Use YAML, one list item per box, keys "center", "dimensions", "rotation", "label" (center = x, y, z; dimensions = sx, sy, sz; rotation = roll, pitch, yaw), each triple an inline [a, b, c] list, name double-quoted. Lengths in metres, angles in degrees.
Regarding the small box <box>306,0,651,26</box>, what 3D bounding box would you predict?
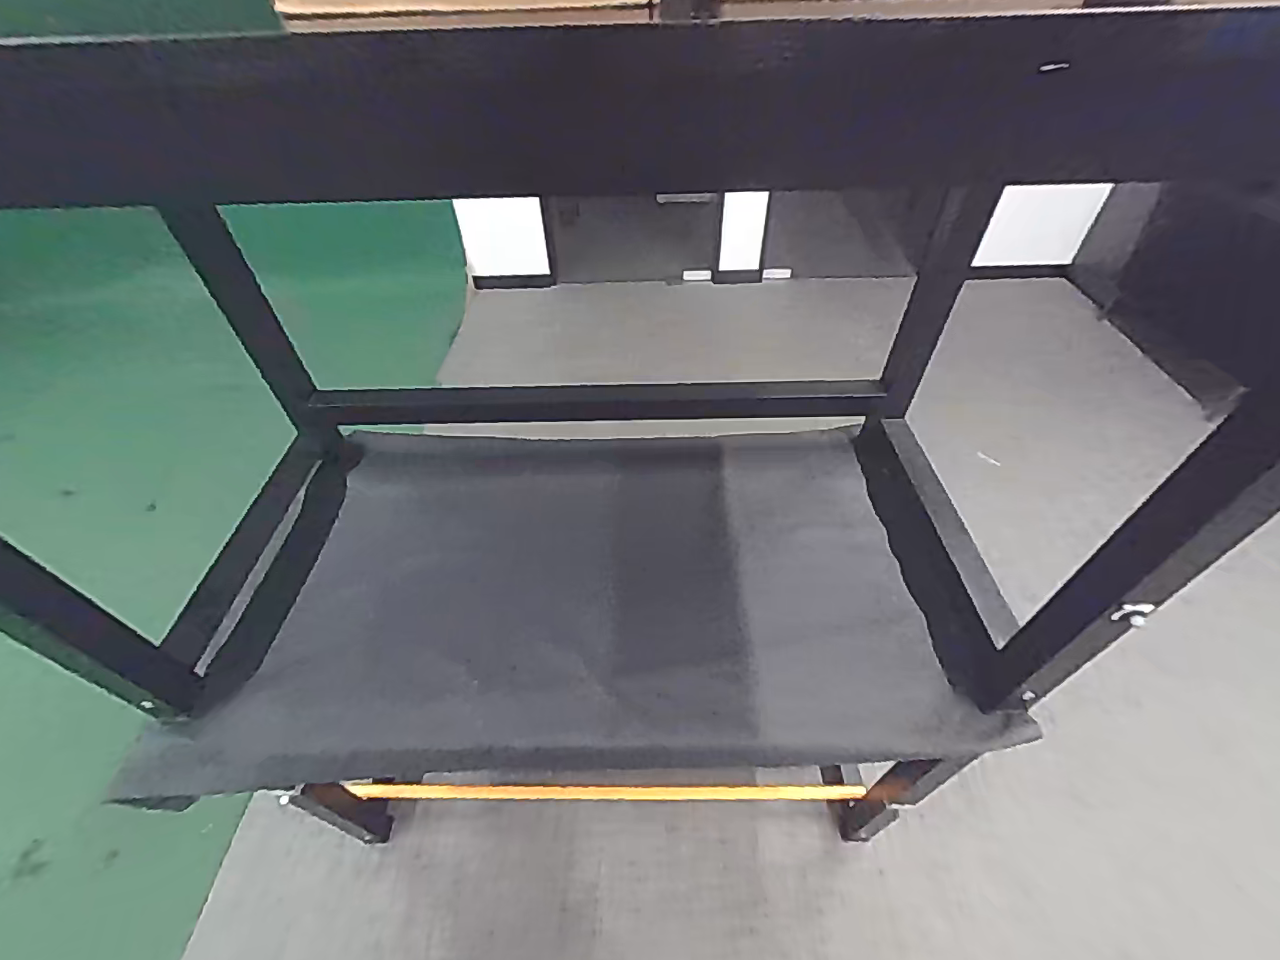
- center: [-0.076, -0.323, 0.242]
  dimensions: [0.168, 0.176, 0.179]
  rotation: [-1, 46, 0]
  label: "small box"
